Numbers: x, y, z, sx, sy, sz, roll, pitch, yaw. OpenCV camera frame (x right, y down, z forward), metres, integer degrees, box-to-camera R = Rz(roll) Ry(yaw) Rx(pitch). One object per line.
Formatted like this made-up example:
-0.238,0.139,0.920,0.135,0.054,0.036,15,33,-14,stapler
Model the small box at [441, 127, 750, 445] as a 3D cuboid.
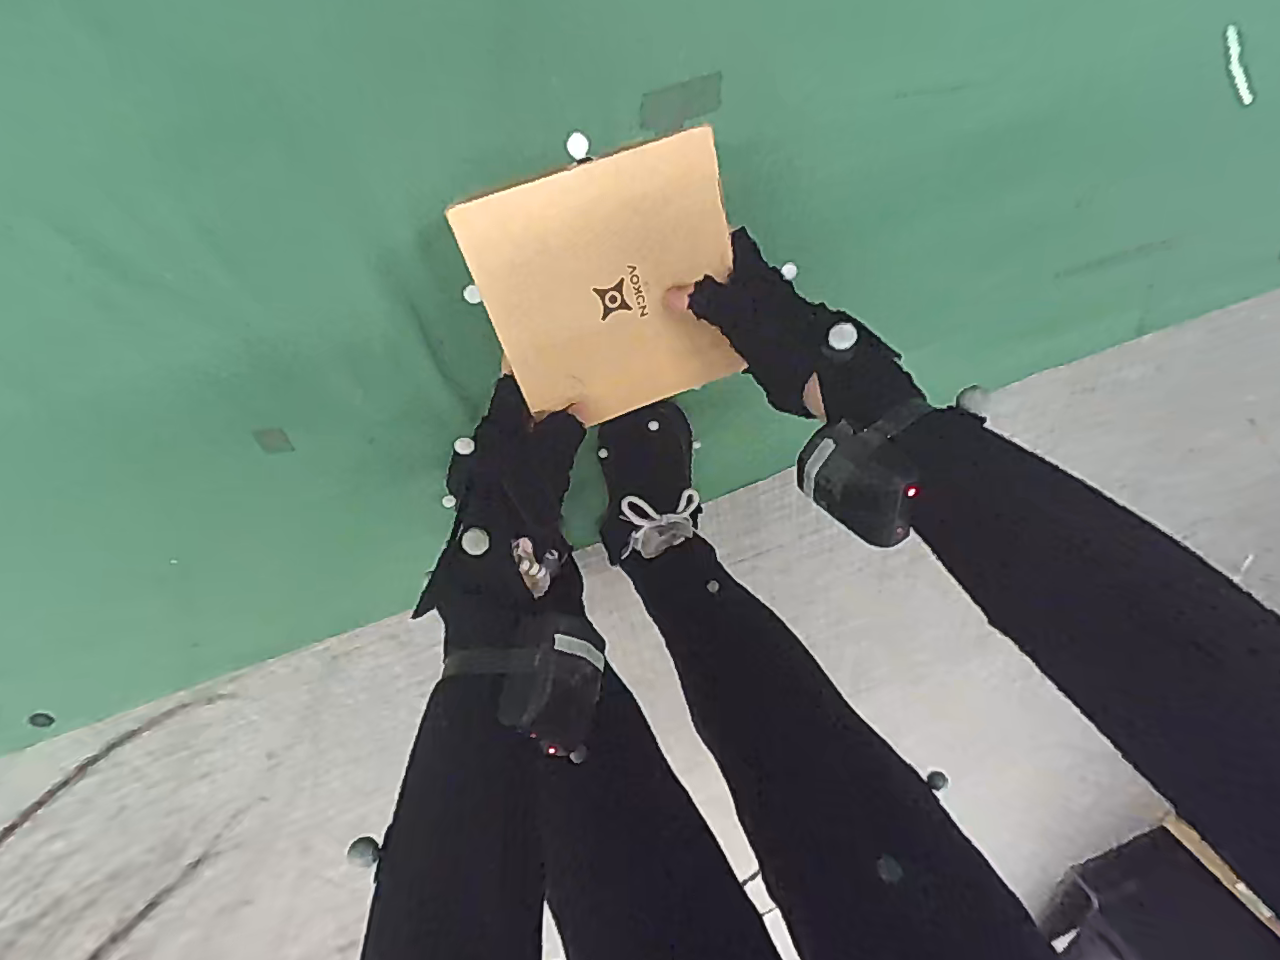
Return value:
-0.037,-0.156,0.436,0.179,0.176,0.168,-23,121,-5,small box
